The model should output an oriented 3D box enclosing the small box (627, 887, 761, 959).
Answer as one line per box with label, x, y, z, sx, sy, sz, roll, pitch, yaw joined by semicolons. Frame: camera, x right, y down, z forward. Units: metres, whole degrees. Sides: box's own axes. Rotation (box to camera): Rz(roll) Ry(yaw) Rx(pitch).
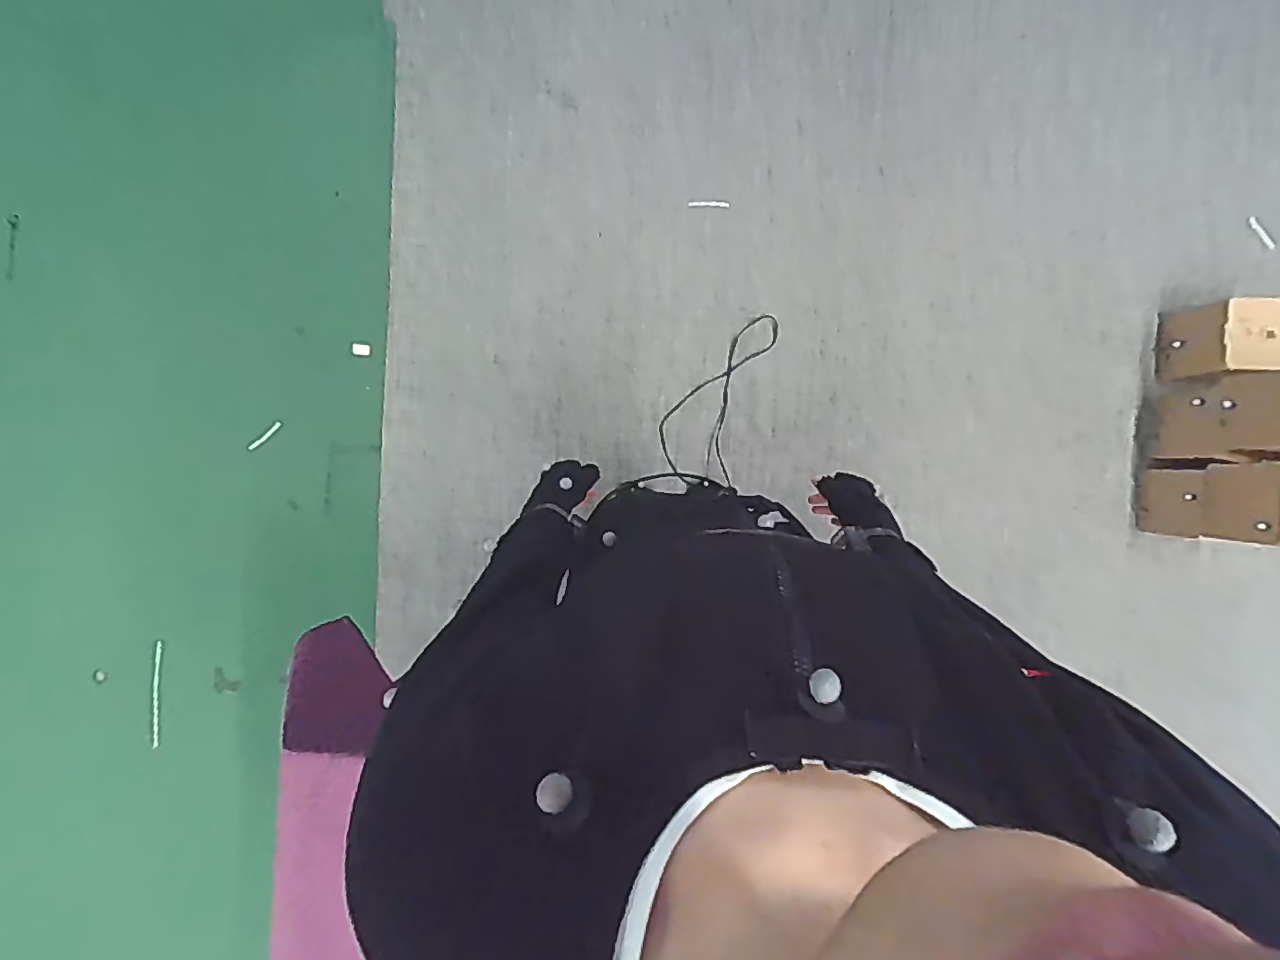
small box;0.062;0.665;0.684;0.168;0.176;0.179;6;92;3
